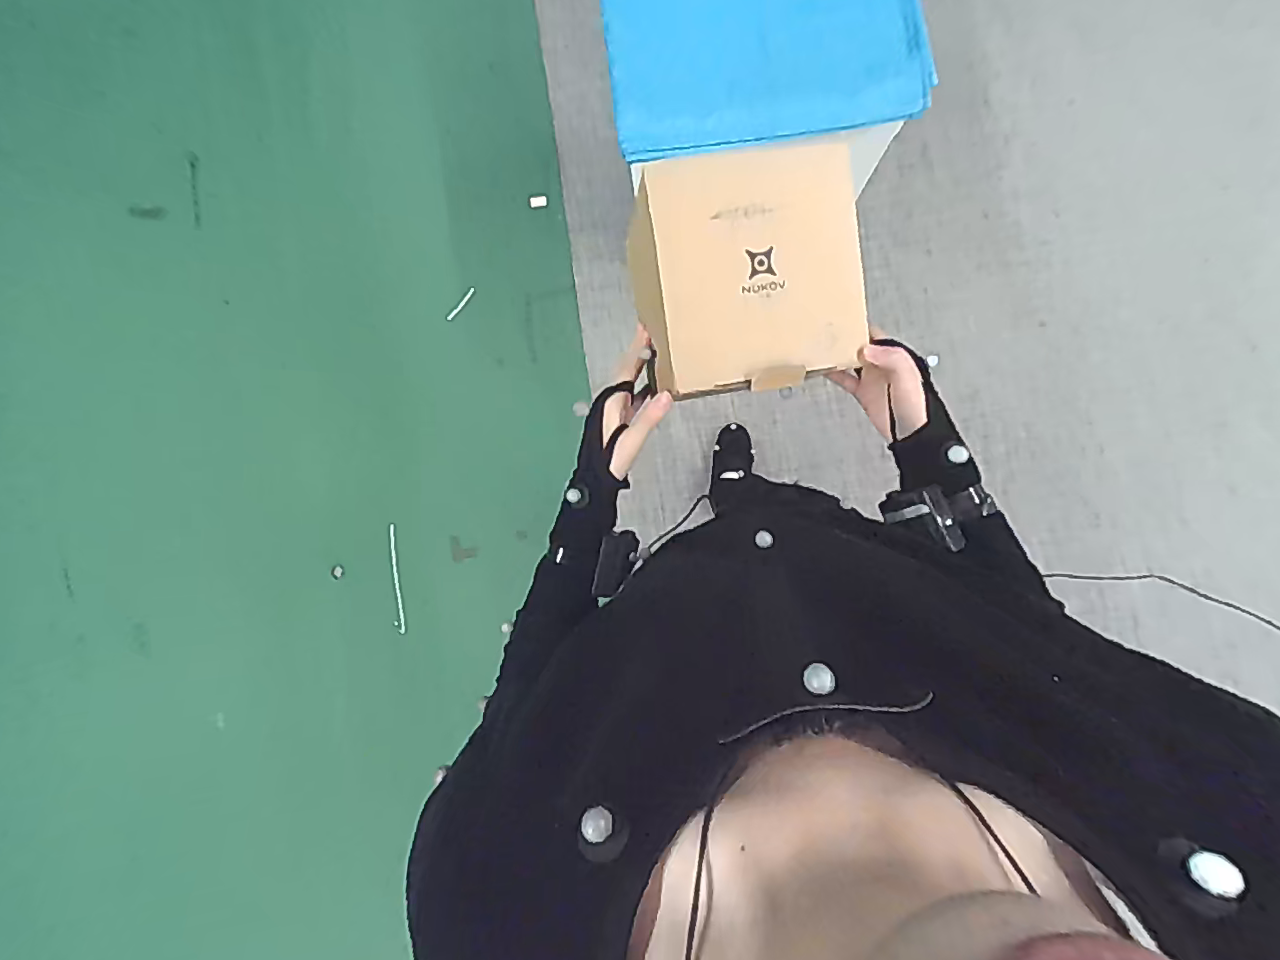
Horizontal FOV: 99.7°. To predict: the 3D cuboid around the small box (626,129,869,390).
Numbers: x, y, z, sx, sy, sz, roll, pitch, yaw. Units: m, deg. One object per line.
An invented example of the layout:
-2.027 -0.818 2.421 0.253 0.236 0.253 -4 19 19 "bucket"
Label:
0.083 -0.178 0.490 0.168 0.176 0.179 -8 95 -6 "small box"
